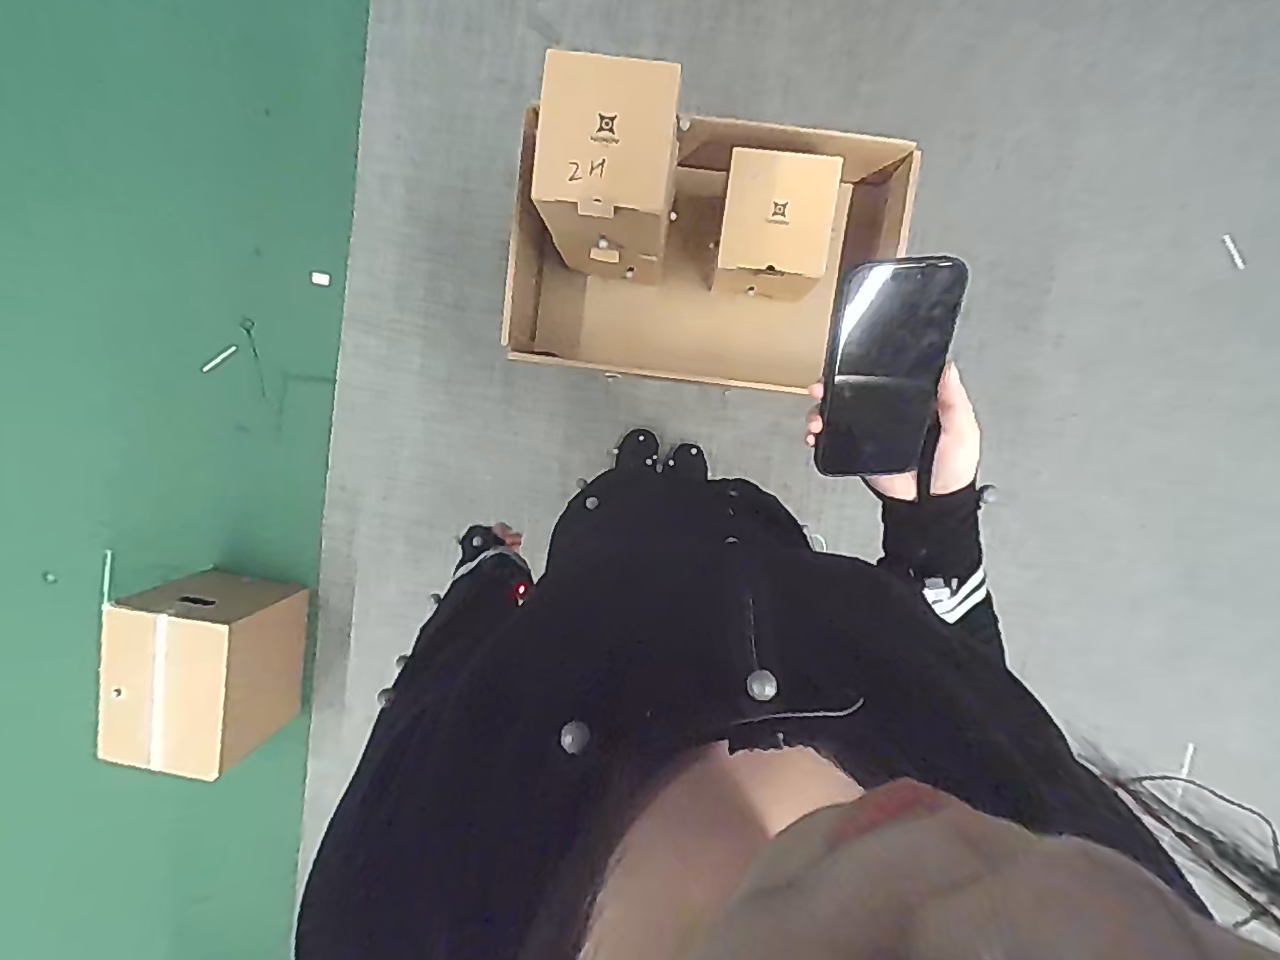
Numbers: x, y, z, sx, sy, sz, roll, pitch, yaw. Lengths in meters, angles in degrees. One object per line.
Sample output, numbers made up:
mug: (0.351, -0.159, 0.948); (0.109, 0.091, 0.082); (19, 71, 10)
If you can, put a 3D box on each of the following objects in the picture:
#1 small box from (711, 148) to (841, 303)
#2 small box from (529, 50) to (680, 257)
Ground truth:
small box: (0.211, -0.406, 0.889); (0.168, 0.176, 0.179); (8, 97, 3)
small box: (-0.042, -0.427, 0.734); (0.168, 0.176, 0.179); (8, 96, 2)
